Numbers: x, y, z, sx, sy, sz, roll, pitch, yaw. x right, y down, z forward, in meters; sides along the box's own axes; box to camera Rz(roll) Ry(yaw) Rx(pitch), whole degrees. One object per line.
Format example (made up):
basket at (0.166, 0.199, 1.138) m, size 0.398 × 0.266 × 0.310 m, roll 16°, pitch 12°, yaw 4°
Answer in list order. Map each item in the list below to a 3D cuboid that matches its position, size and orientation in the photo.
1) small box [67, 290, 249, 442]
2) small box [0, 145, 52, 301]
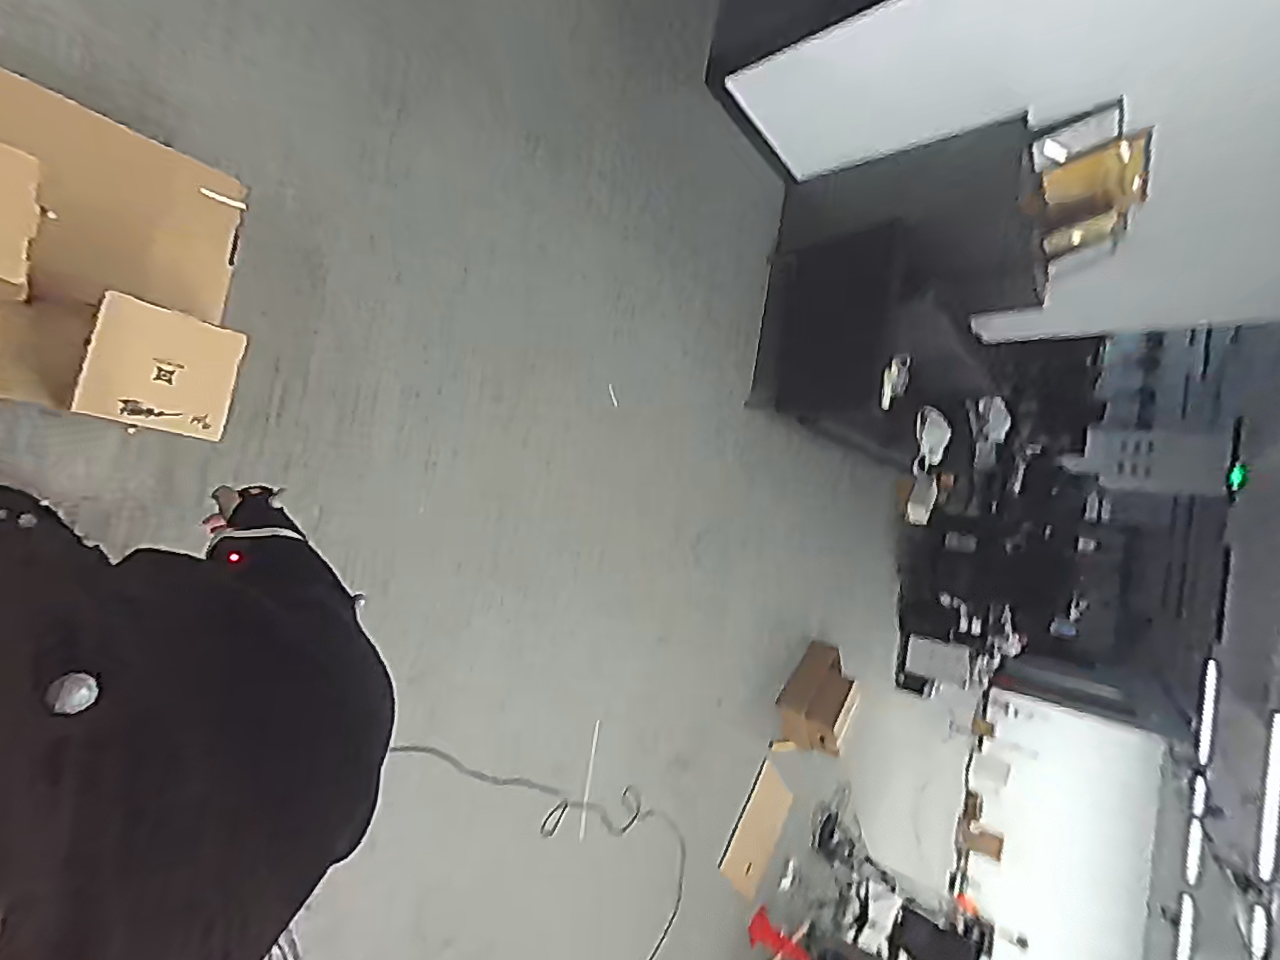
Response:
small box at (-0.743, -0.163, 0.834) m, size 0.168 × 0.176 × 0.179 m, roll 18°, pitch 79°, yaw -49°
small box at (-0.875, -0.336, 0.671) m, size 0.179 × 0.176 × 0.168 m, roll 10°, pitch 84°, yaw -48°
